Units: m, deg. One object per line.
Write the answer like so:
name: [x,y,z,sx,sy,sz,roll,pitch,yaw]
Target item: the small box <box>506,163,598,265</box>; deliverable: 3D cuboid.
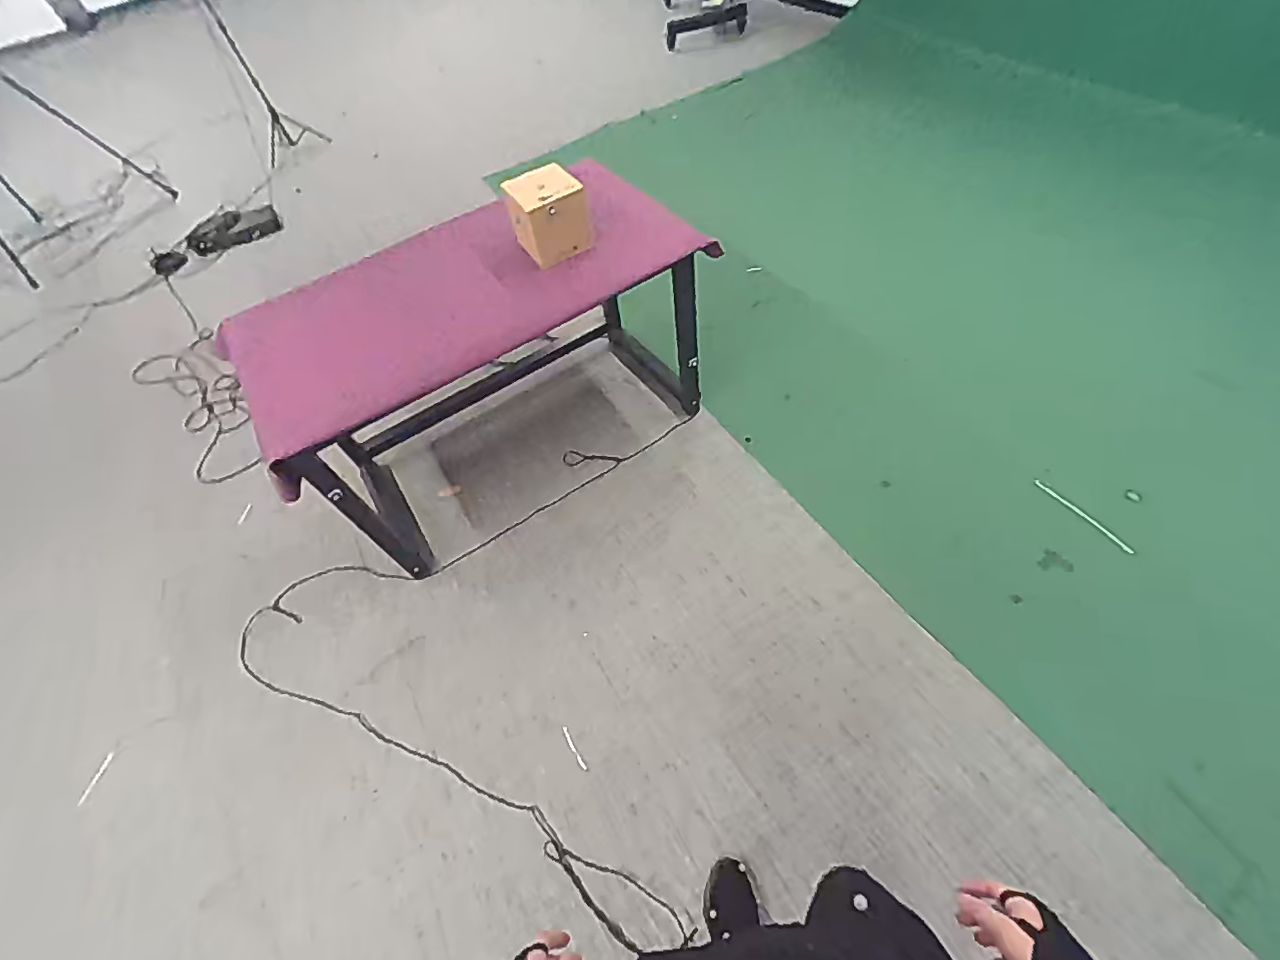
small box: [-0.233,-0.711,1.454,0.168,0.176,0.179,-30,57,-12]
